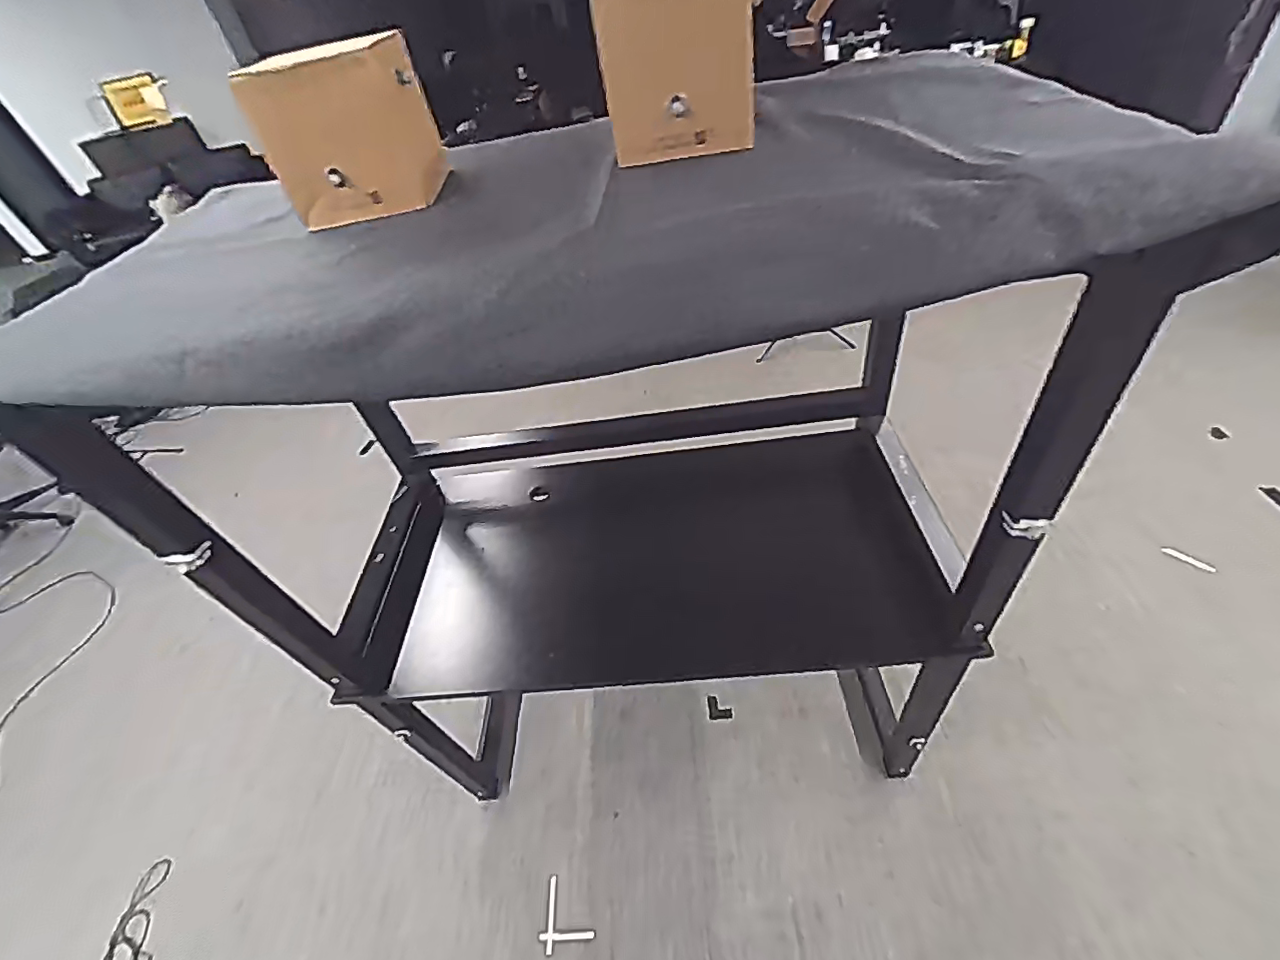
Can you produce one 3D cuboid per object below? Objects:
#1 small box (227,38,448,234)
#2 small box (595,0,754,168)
[{"bbox_3d":[-0.365,-0.441,0.696,0.168,0.176,0.179,-11,45,2],"label":"small box"},{"bbox_3d":[0.053,-0.505,0.662,0.168,0.176,0.179,-2,46,11],"label":"small box"}]
